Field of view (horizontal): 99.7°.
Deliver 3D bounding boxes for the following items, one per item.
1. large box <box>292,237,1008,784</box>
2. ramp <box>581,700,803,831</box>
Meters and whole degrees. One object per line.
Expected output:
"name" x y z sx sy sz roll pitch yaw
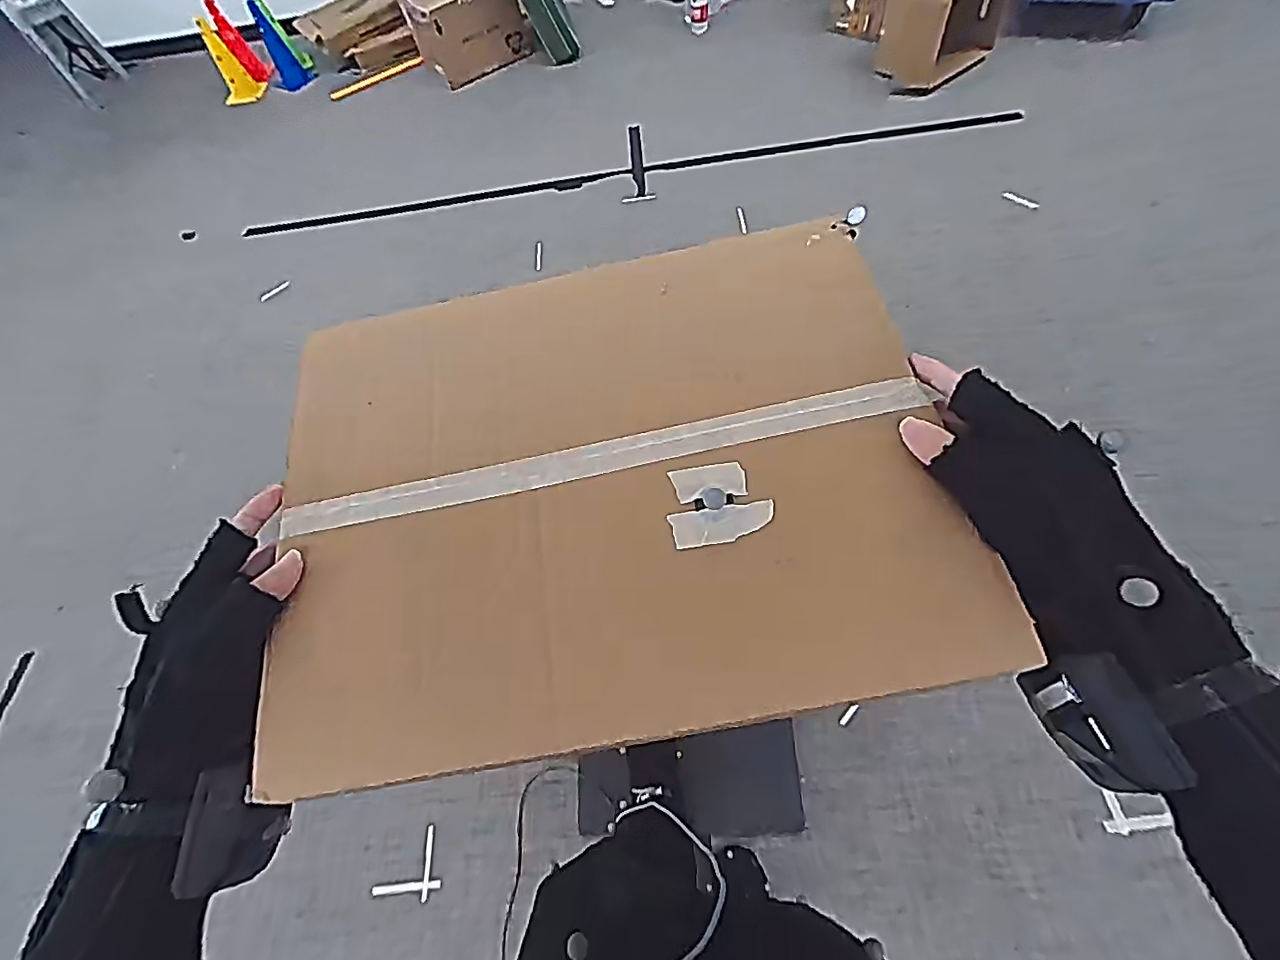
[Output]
"large box" -0.007 0.052 0.486 0.408 0.320 0.320 -11 66 2
"ramp" 0.092 0.287 1.334 0.509 0.206 0.991 -5 62 3
